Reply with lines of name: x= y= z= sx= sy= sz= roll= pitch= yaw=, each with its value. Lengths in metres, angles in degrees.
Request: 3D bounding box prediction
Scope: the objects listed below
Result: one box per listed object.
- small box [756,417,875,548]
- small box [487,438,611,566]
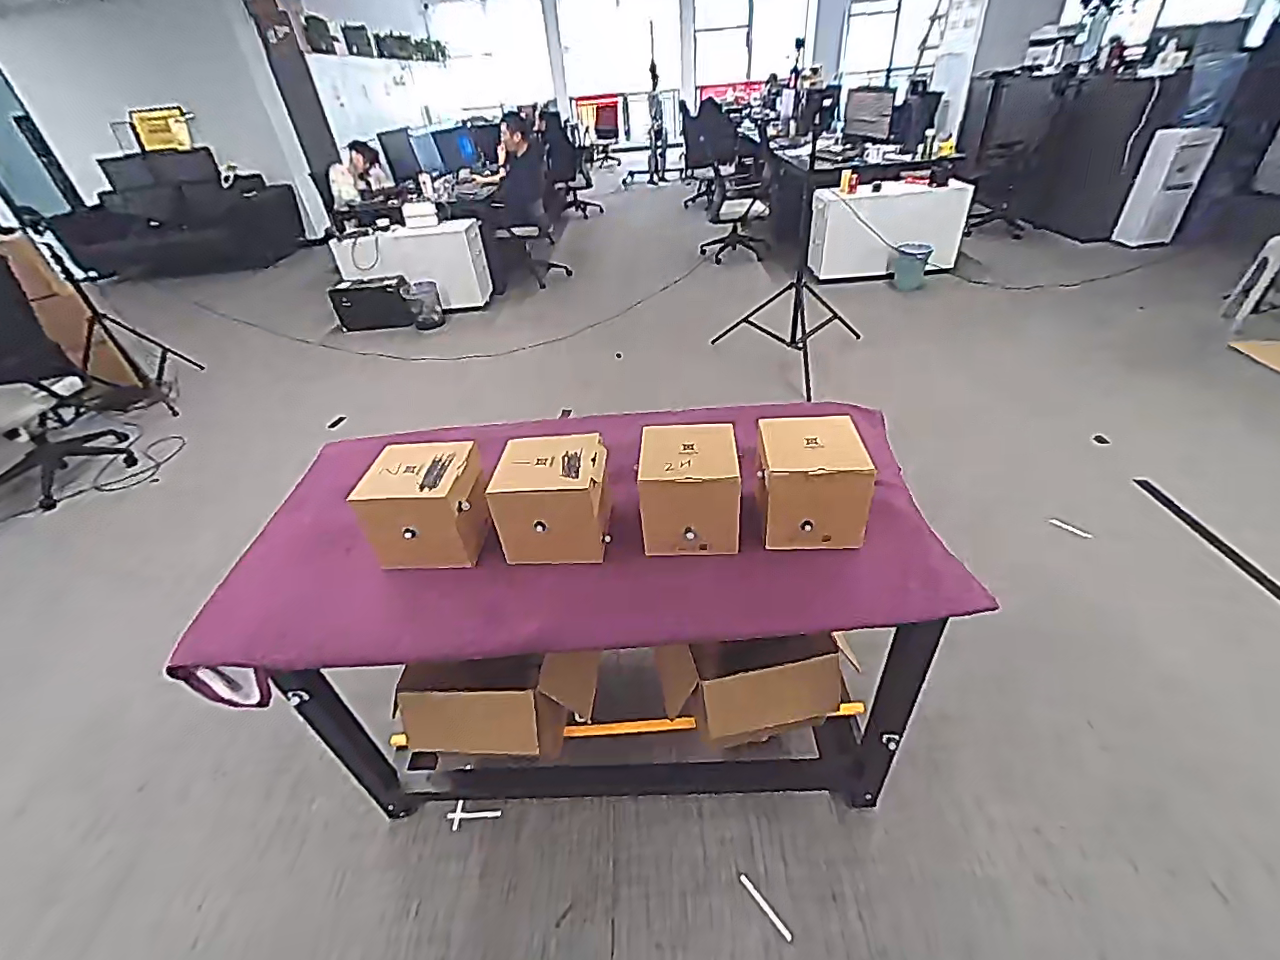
small box: x=0.300 y=0.003 z=0.966 sx=0.168 sy=0.176 sz=0.179 roll=-2 pitch=36 yaw=6
small box: x=-0.152 y=0.042 z=0.983 sx=0.179 sy=0.176 sz=0.168 roll=-3 pitch=36 yaw=6
